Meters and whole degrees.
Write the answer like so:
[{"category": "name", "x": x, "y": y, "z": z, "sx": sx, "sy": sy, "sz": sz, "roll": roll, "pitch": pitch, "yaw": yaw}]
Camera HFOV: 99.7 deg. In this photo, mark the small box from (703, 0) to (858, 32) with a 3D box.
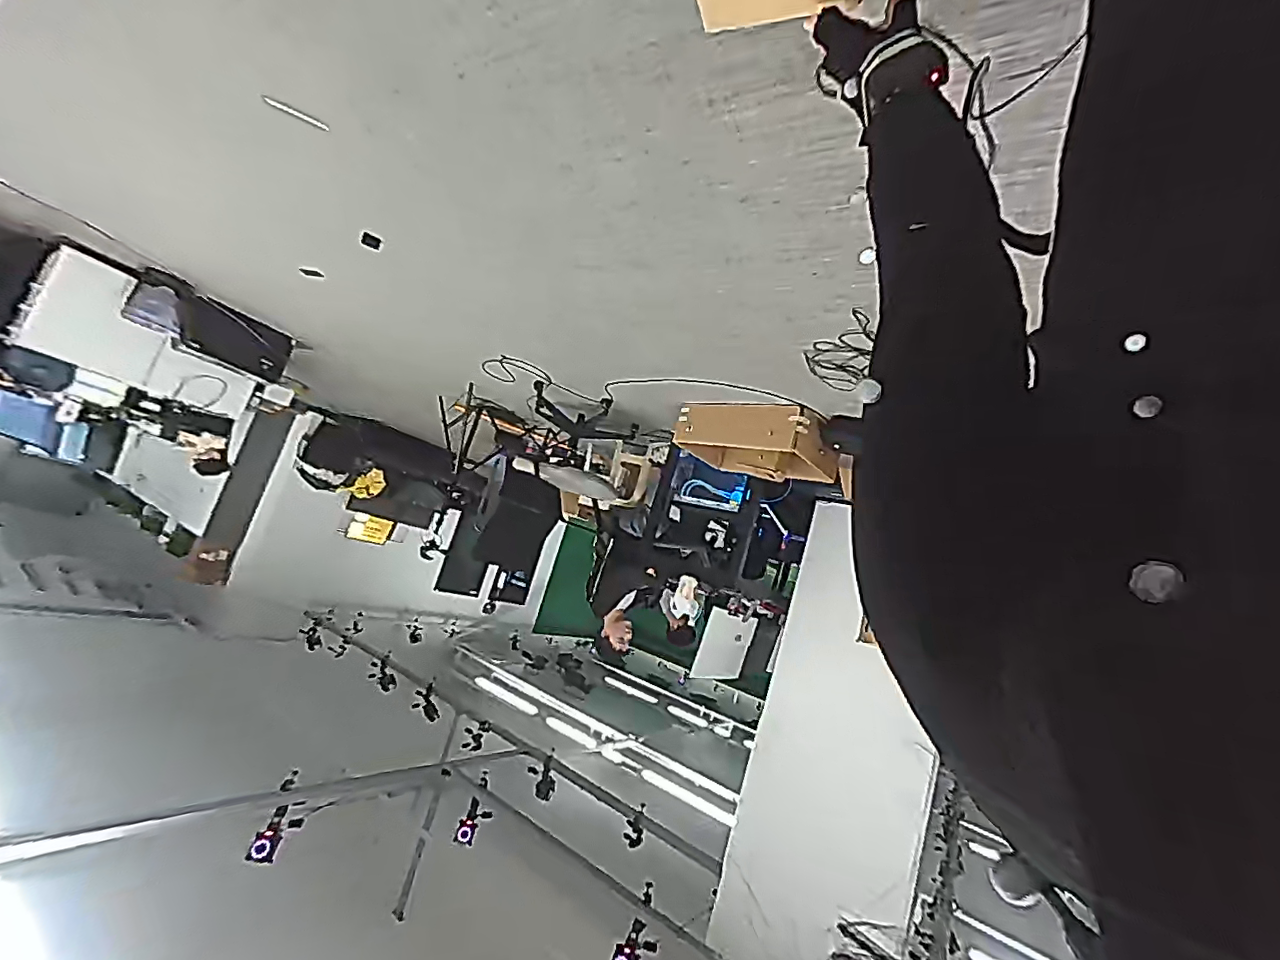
[{"category": "small box", "x": 0.151, "y": -0.604, "z": 0.533, "sx": 0.179, "sy": 0.176, "sz": 0.168, "roll": 15, "pitch": 167, "yaw": 30}]
